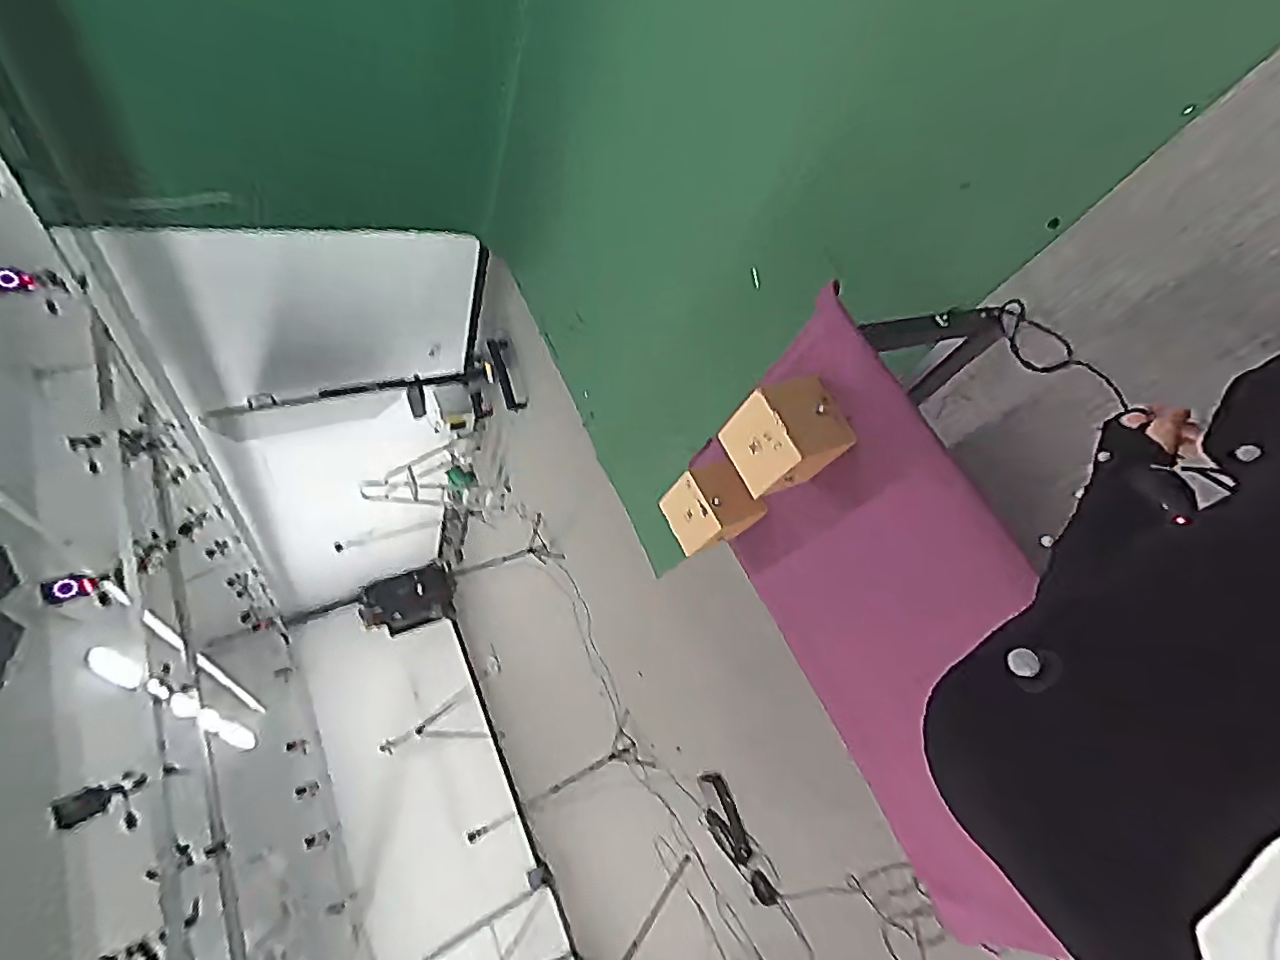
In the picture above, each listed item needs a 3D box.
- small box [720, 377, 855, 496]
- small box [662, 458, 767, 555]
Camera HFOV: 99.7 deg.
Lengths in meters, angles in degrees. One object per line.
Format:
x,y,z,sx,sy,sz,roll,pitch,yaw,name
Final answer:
0.306,-0.091,1.129,0.168,0.176,0.179,63,148,17,small box
0.190,0.066,1.385,0.168,0.176,0.179,61,145,18,small box
